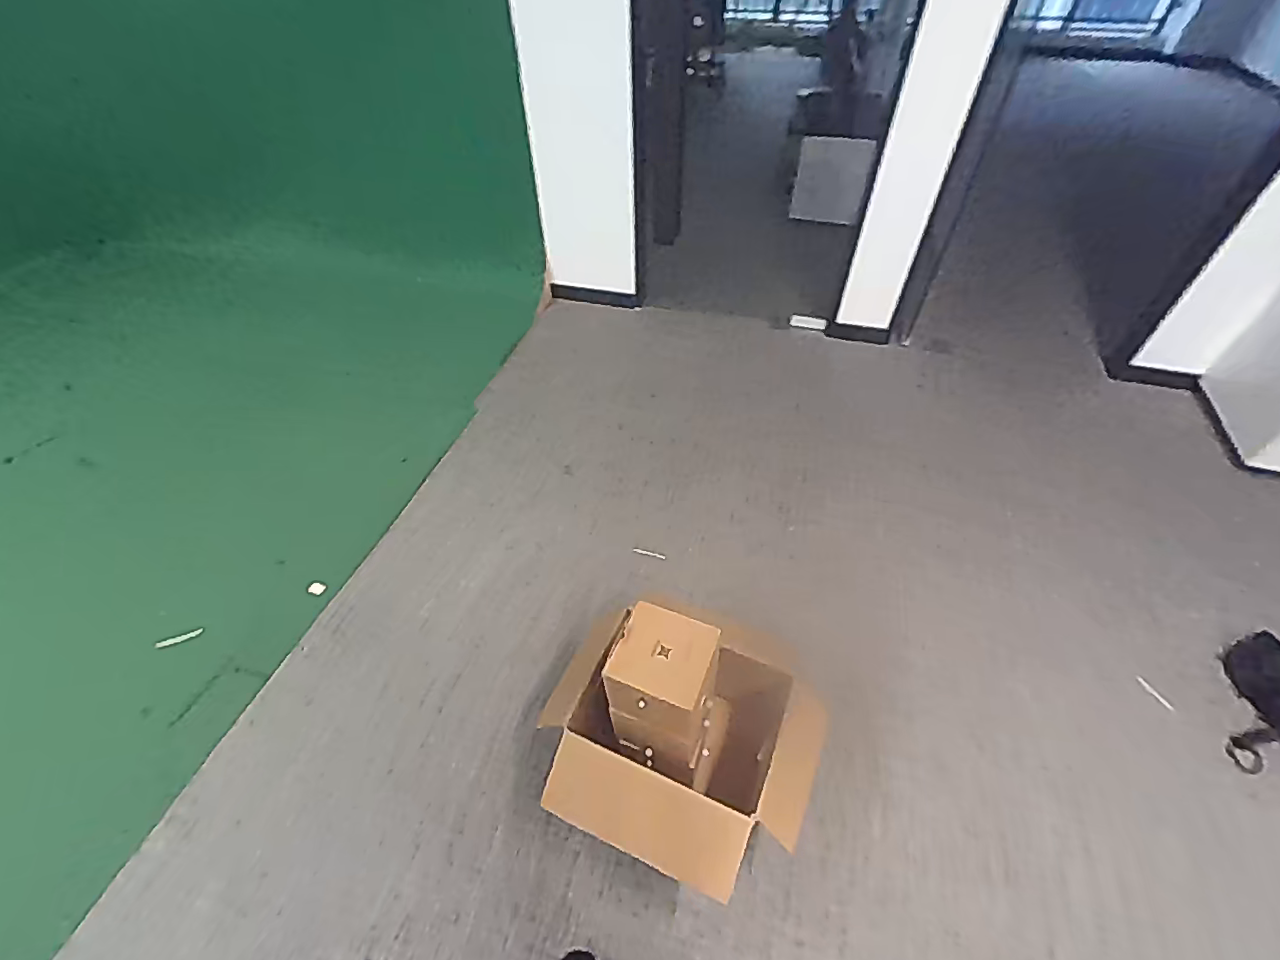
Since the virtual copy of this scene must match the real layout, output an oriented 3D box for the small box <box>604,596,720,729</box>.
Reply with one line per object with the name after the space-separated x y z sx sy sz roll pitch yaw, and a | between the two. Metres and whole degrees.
0.047 0.363 1.064 0.179 0.176 0.168 16 52 17 | small box
